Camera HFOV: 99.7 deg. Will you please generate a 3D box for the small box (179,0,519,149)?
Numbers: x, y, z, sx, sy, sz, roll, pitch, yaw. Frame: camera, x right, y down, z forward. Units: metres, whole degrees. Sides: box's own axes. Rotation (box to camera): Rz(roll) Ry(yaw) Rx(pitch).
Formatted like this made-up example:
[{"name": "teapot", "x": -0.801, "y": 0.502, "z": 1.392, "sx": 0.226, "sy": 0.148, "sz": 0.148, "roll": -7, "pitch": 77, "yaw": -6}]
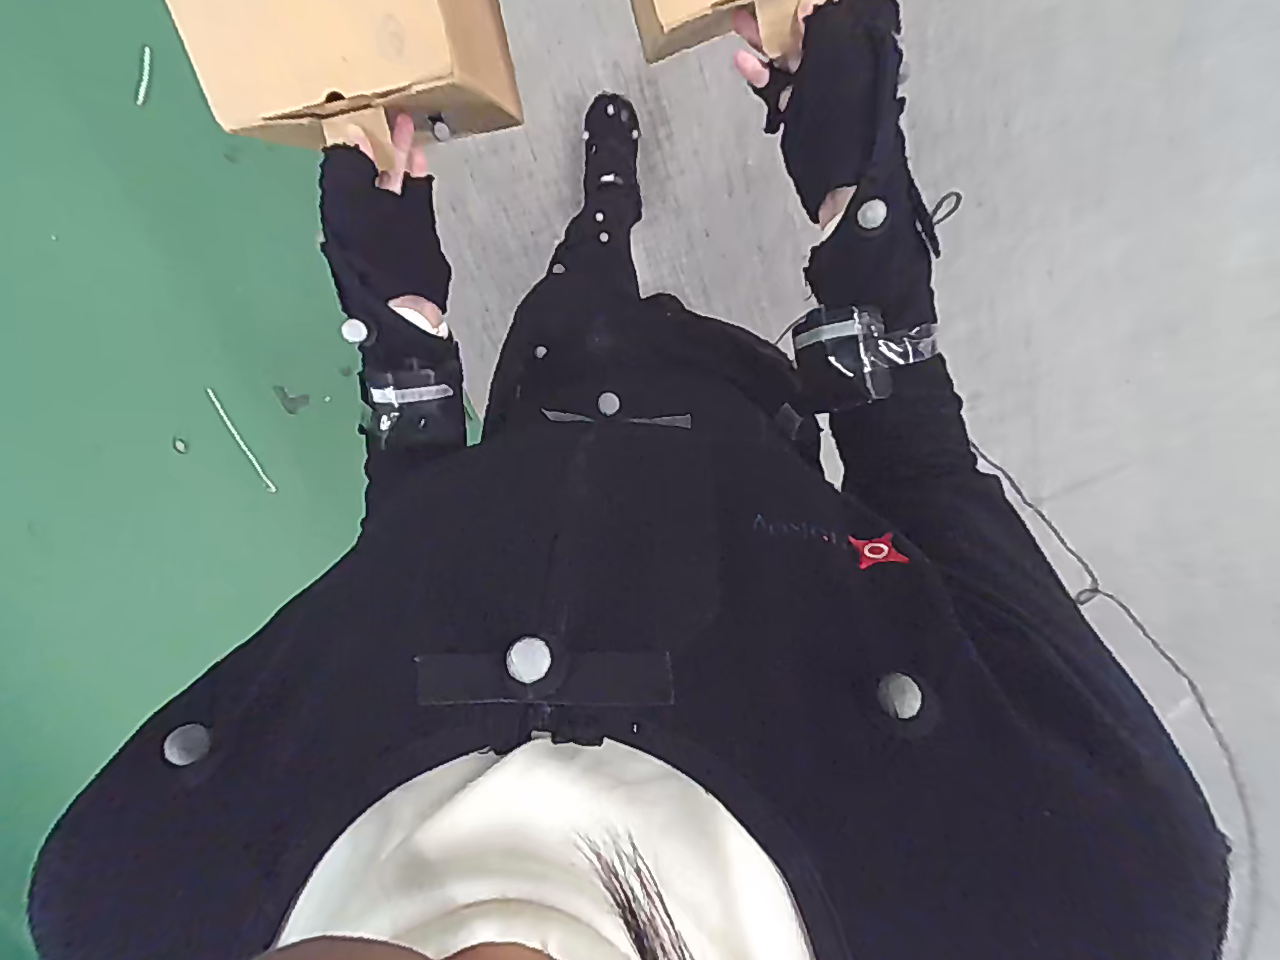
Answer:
[{"name": "small box", "x": -0.200, "y": -0.354, "z": 0.385, "sx": 0.168, "sy": 0.176, "sz": 0.179, "roll": -8, "pitch": 113, "yaw": 6}]
